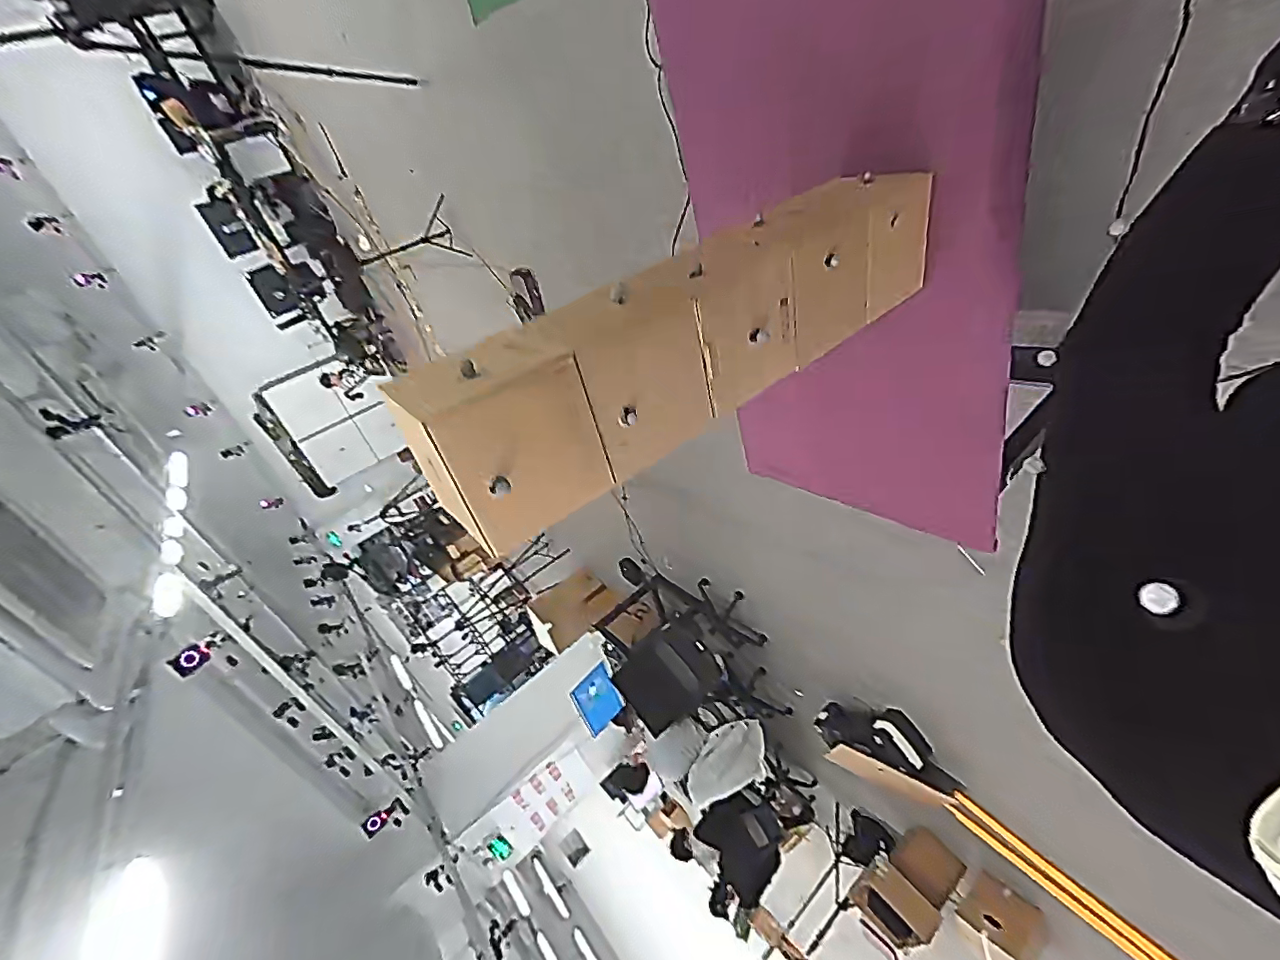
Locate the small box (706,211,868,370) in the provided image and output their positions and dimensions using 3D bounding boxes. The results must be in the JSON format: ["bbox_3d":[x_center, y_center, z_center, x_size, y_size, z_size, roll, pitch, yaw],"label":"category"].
[{"bbox_3d":[0.225,-0.295,0.818,0.168,0.176,0.179,30,145,45],"label":"small box"}]

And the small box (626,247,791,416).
[{"bbox_3d":[0.097,-0.216,0.756,0.179,0.176,0.168,30,144,45],"label":"small box"}]

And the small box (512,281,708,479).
[{"bbox_3d":[-0.030,-0.135,0.691,0.168,0.176,0.179,29,142,47],"label":"small box"}]

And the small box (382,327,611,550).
[{"bbox_3d":[-0.157,-0.059,0.623,0.168,0.176,0.179,29,144,47],"label":"small box"}]
